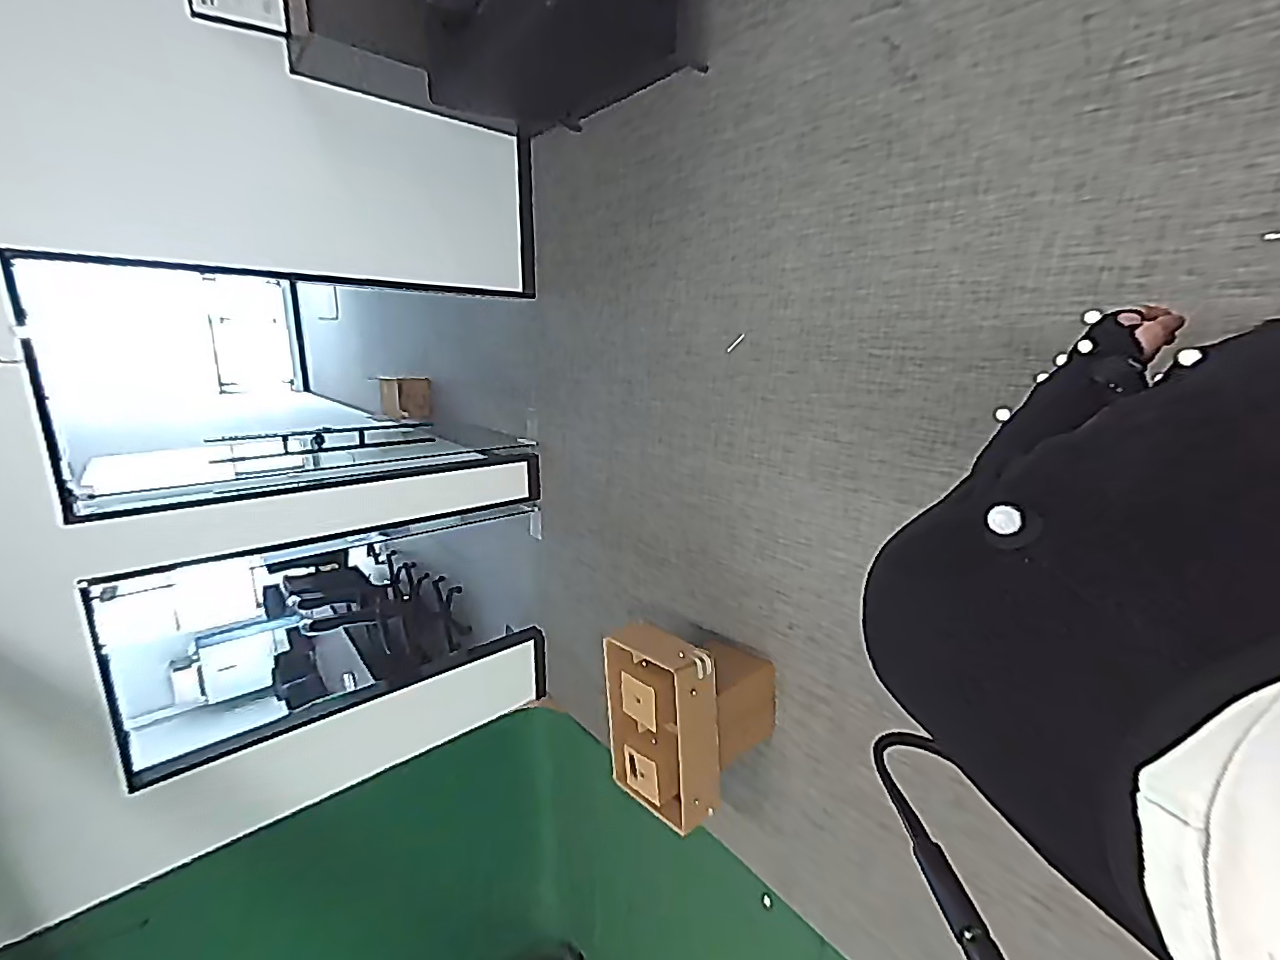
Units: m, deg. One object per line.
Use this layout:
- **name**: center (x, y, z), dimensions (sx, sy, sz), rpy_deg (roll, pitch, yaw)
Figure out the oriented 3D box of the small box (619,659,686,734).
- **small box**: center (0.044, 0.760, 1.929), dimensions (0.179, 0.176, 0.168), rpy_deg (10, 106, 48)
